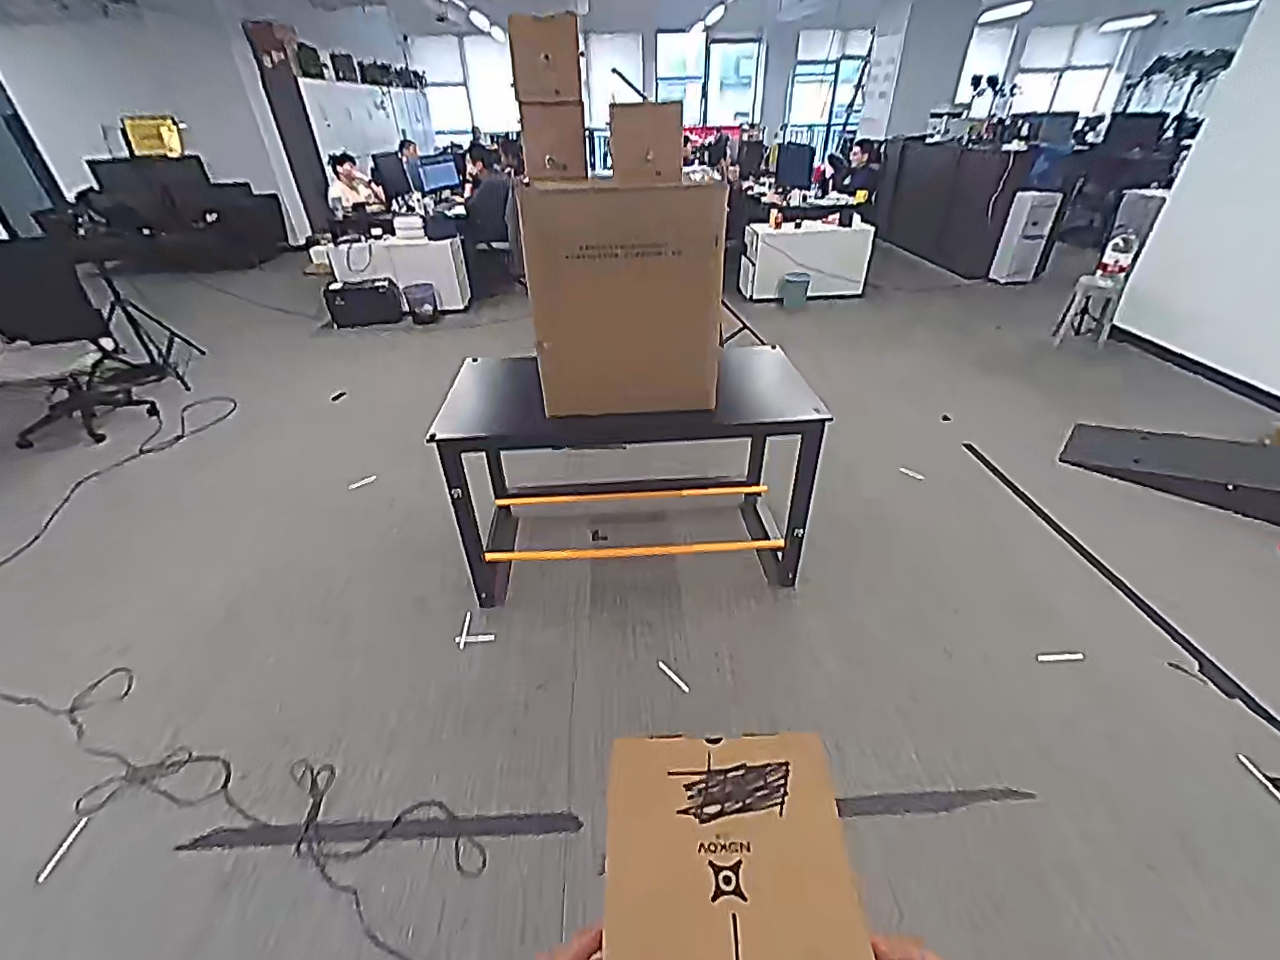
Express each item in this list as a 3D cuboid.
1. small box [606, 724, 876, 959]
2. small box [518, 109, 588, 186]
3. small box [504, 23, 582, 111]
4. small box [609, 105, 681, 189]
[{"bbox_3d":[0.063,0.315,0.419,0.168,0.176,0.179,-3,40,1],"label":"small box"},{"bbox_3d":[-0.230,-0.896,1.457,0.168,0.176,0.179,-6,35,-5],"label":"small box"},{"bbox_3d":[-0.235,-1.023,1.353,0.168,0.176,0.179,-4,34,-4],"label":"small box"},{"bbox_3d":[0.009,-0.835,1.357,0.168,0.176,0.179,-5,35,-3],"label":"small box"}]
